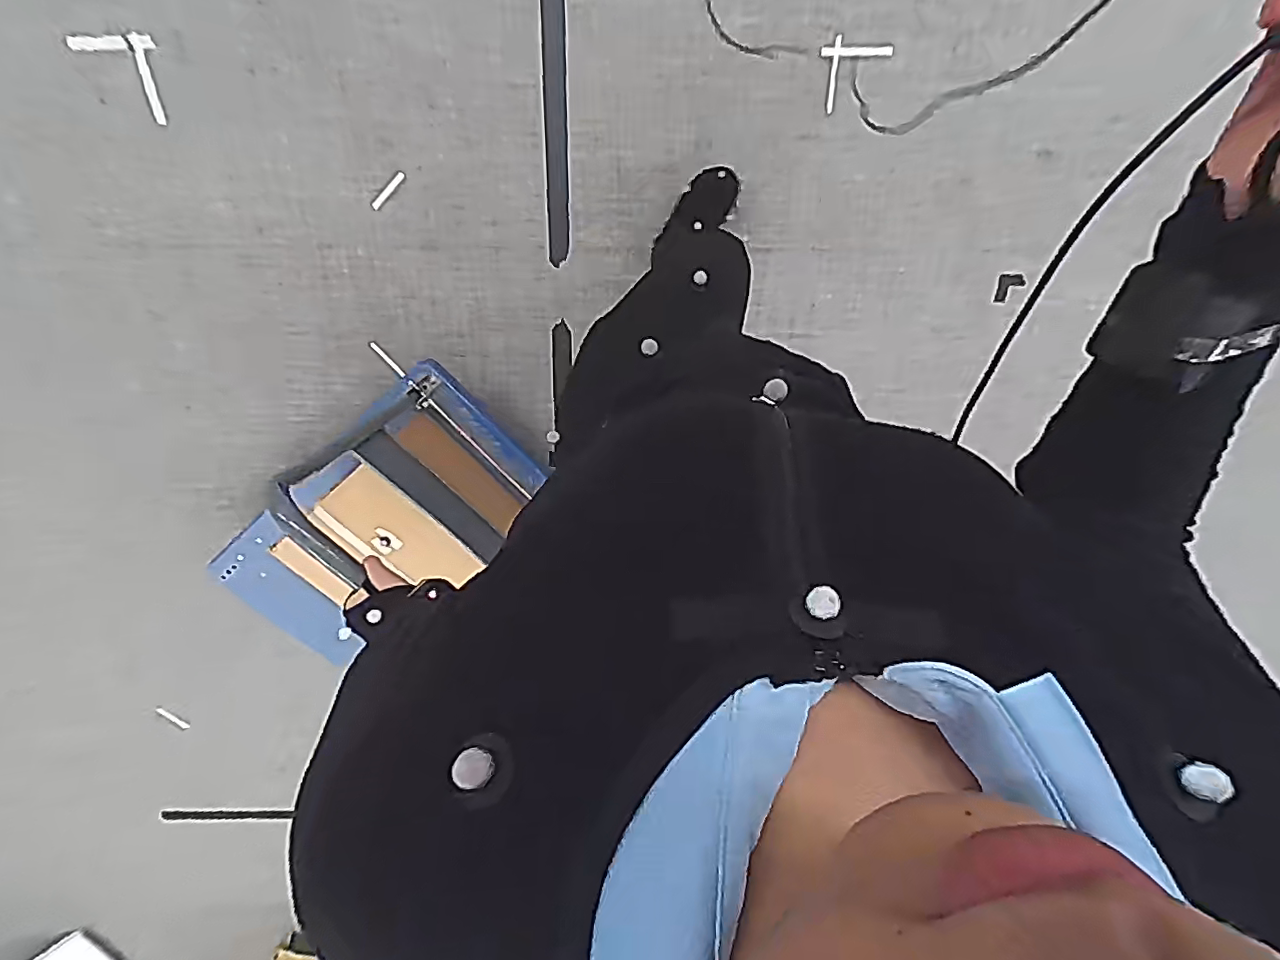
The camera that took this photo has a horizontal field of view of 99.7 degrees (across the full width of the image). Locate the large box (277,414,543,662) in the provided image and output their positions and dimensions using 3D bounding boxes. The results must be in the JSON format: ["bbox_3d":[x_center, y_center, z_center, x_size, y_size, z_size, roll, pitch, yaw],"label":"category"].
[{"bbox_3d":[-0.488,0.123,1.242,0.320,0.320,0.408,-38,108,13],"label":"large box"}]
